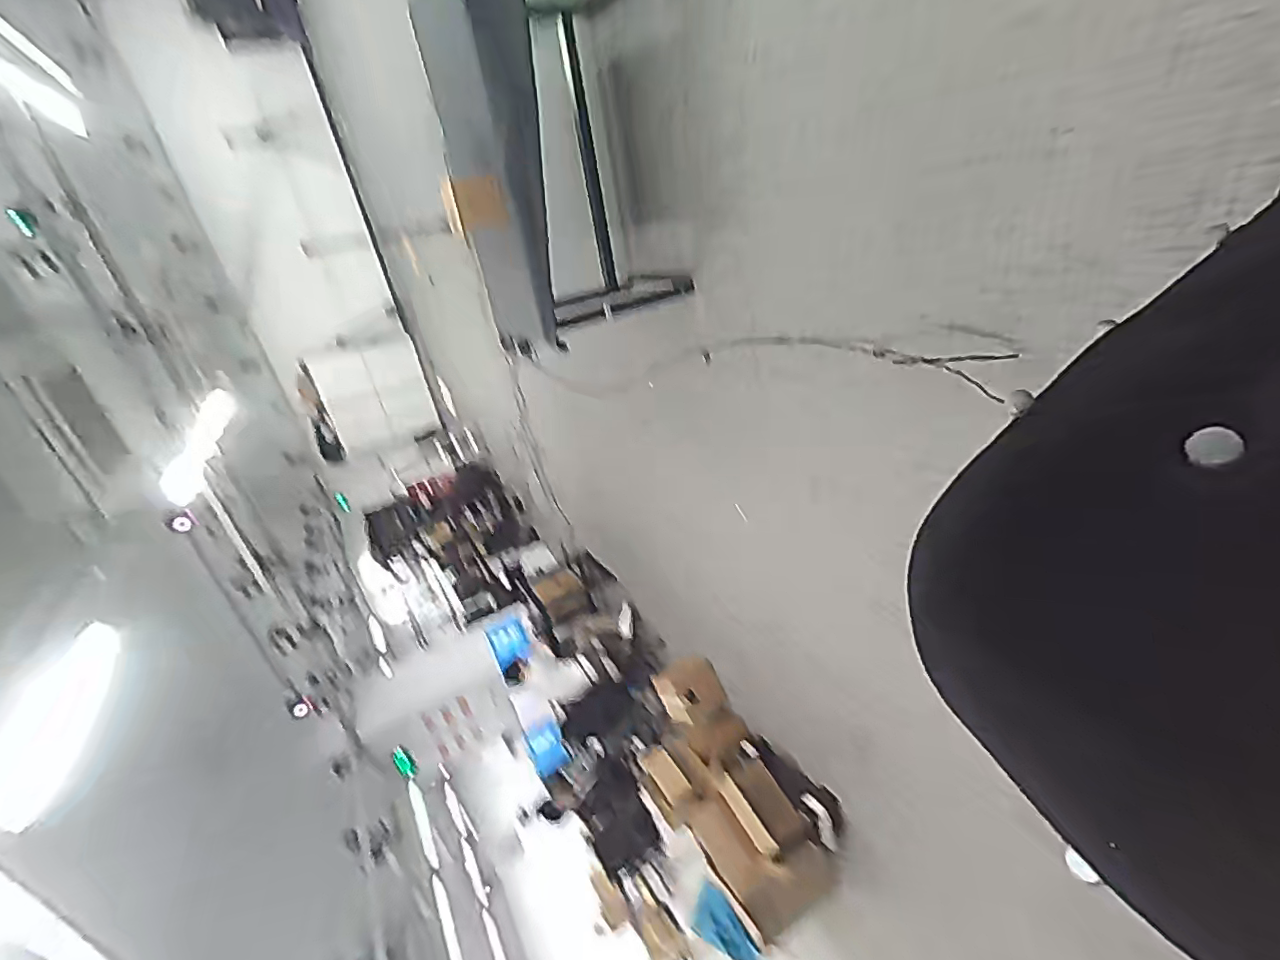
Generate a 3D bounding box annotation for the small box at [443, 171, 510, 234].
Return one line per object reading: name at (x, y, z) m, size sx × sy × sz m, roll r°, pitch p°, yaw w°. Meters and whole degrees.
small box at (-0.586, -0.998, 1.947) m, size 0.168 × 0.176 × 0.179 m, roll 33°, pitch 139°, yaw 51°
